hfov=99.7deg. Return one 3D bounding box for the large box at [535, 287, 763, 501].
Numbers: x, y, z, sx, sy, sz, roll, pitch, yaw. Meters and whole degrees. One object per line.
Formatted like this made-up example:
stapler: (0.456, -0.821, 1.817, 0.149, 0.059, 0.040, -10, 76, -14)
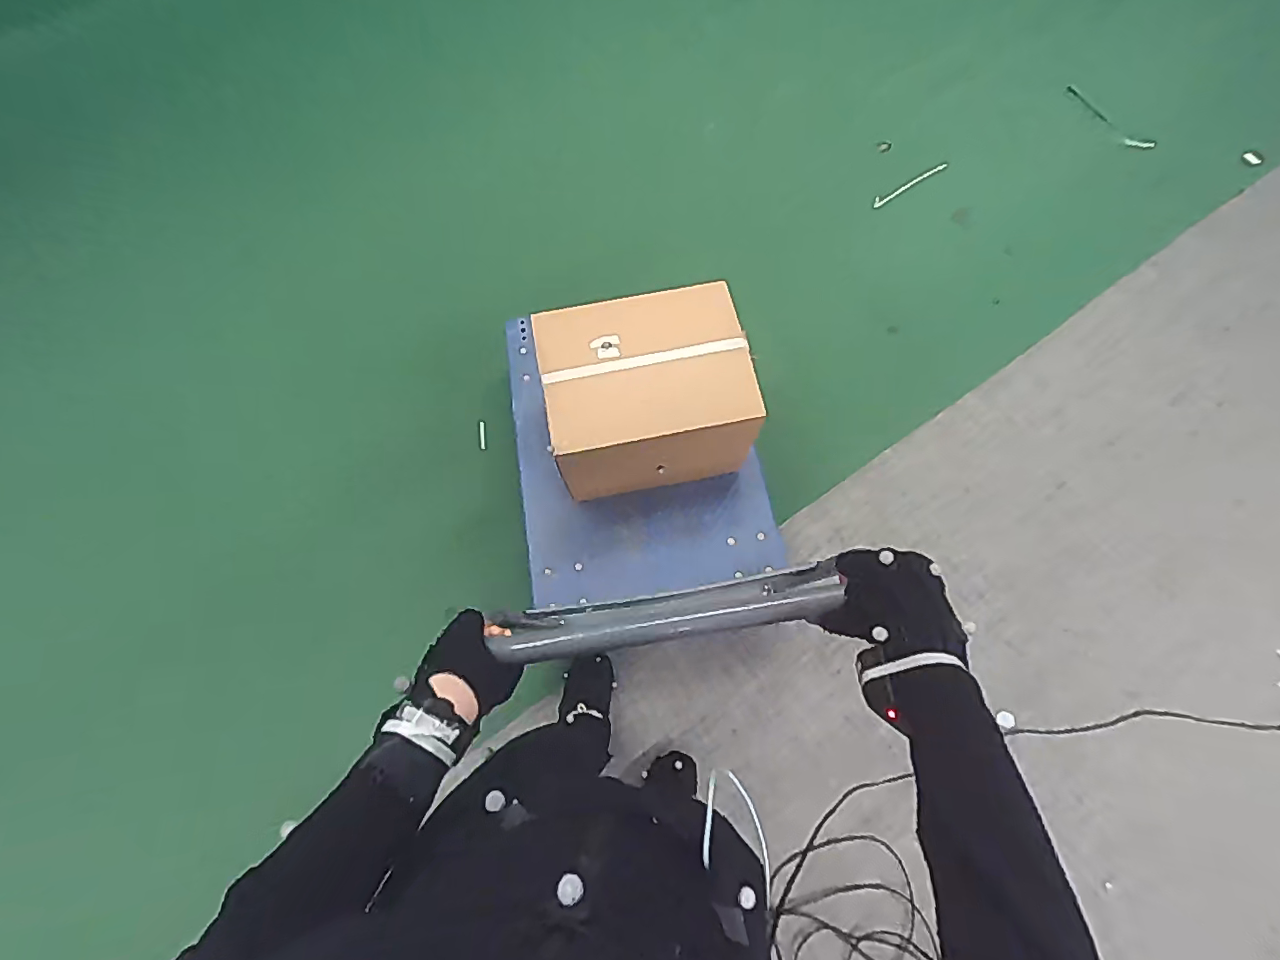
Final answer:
large box: (0.015, -0.172, 1.200, 0.408, 0.320, 0.320, -12, 72, -2)
